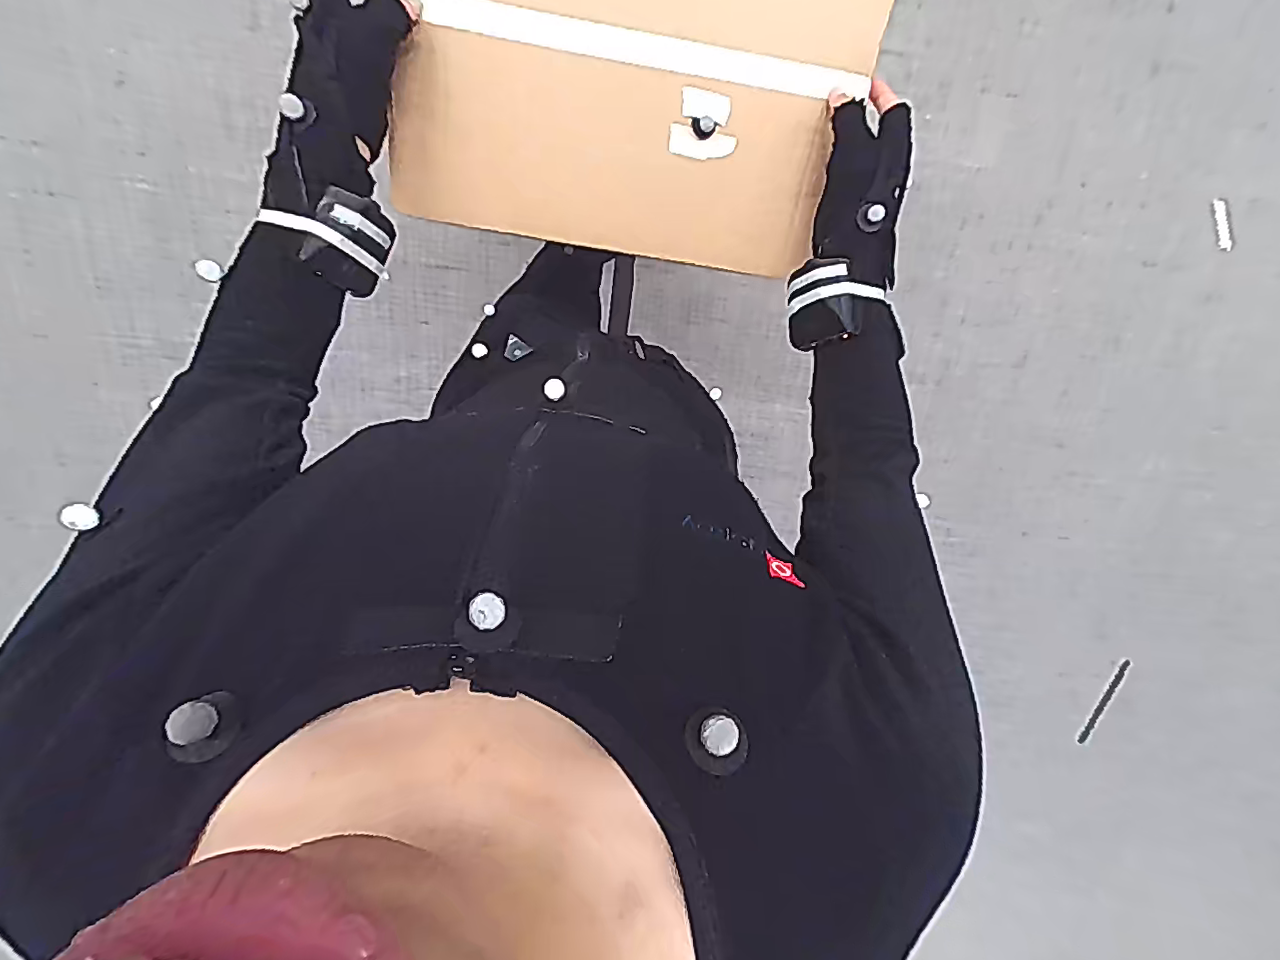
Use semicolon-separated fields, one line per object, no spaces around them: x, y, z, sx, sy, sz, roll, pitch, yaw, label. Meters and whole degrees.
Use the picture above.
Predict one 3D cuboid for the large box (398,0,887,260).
-0.006;-0.441;0.585;0.408;0.320;0.320;7;118;-6;large box
